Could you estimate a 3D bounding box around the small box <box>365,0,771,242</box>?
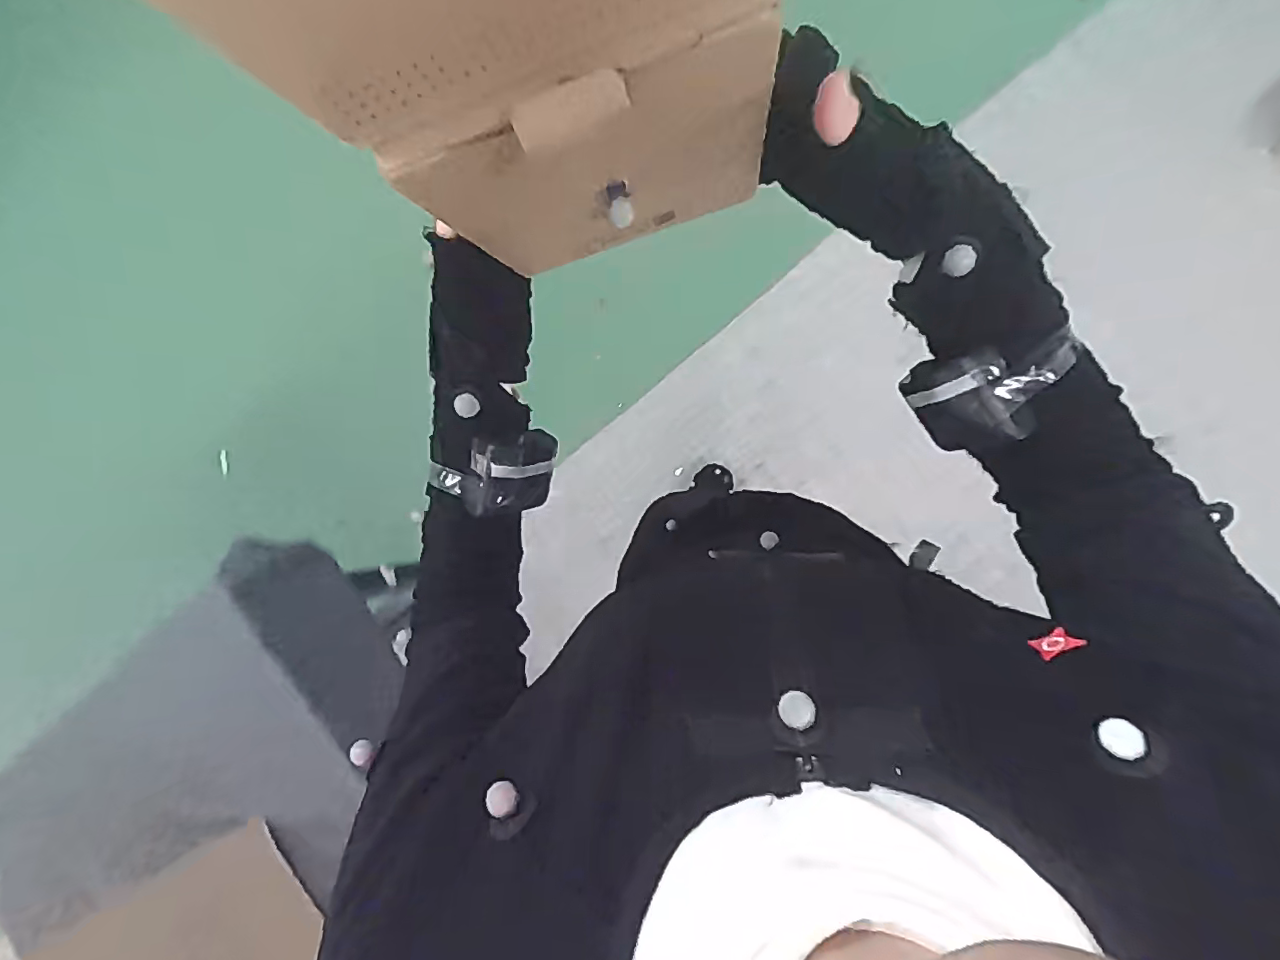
[{"bbox_3d":[-0.035,-0.241,0.275,0.168,0.176,0.179,-13,95,10],"label":"small box"}]
